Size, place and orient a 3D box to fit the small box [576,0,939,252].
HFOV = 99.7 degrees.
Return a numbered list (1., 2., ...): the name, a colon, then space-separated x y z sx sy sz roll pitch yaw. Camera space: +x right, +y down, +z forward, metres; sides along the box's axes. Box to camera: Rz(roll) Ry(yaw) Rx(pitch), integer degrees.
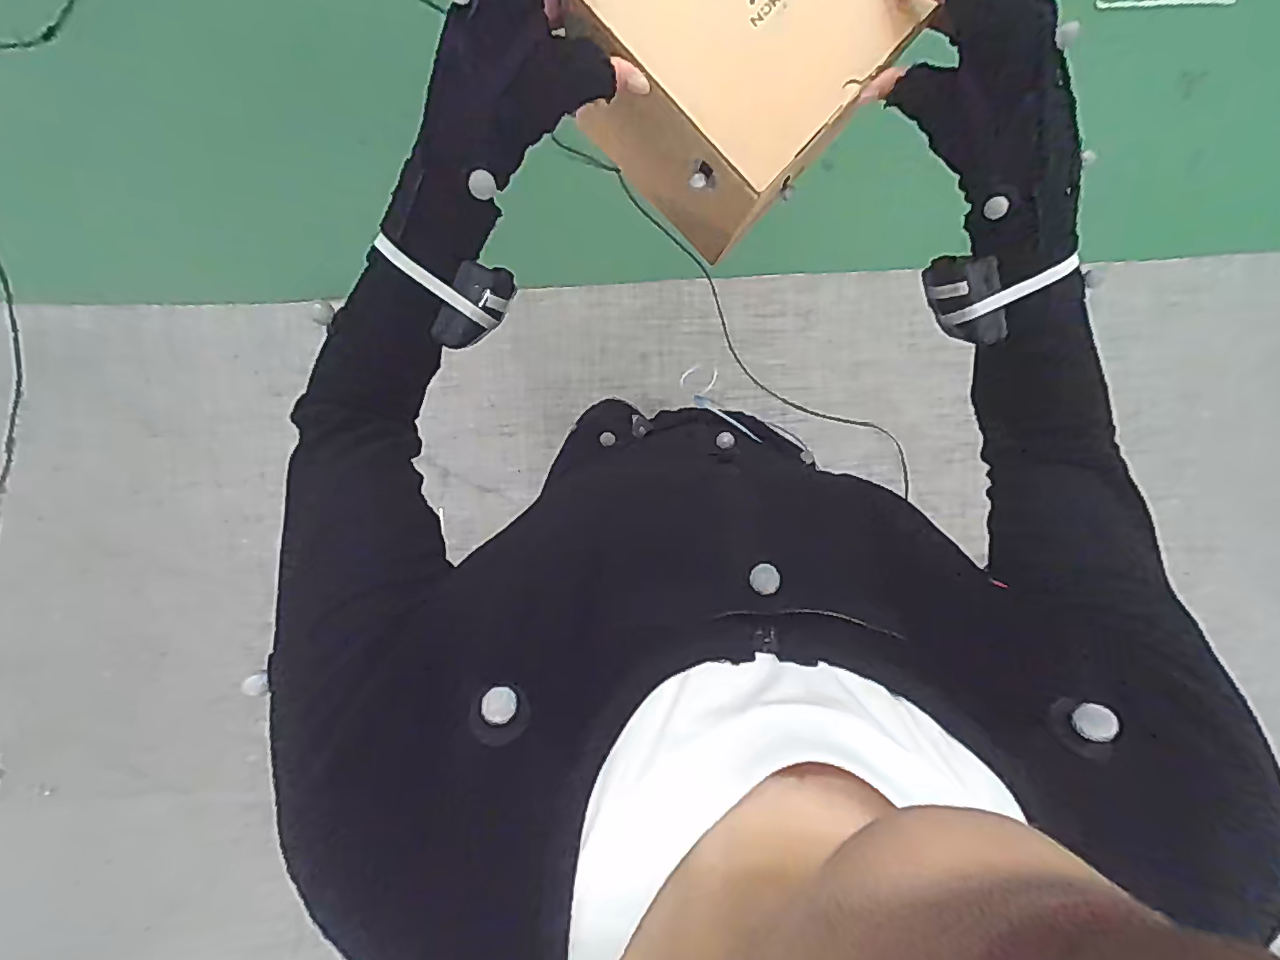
1. small box: 0.066 -0.308 0.409 0.179 0.176 0.168 44 93 -8
